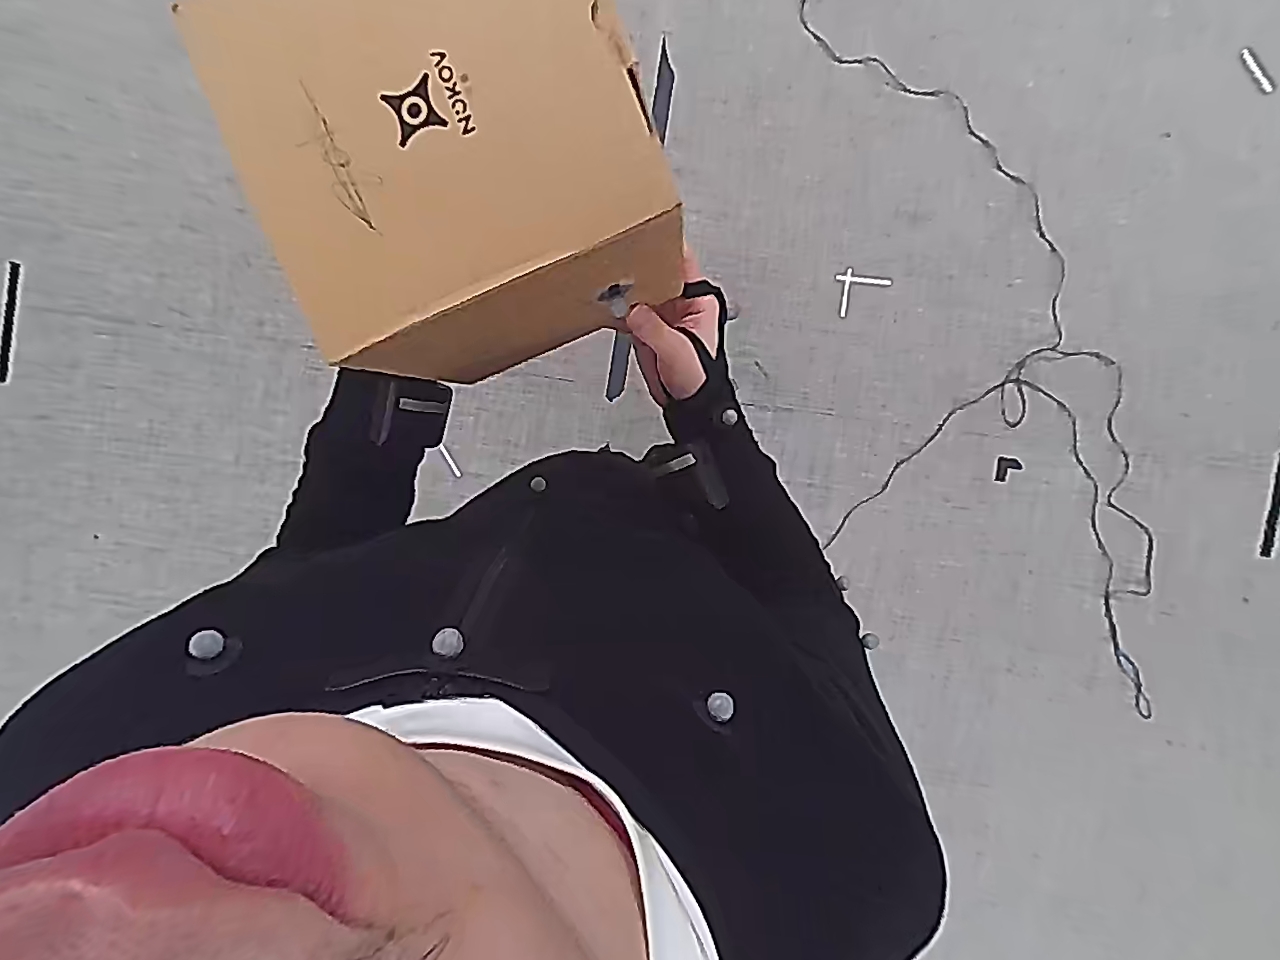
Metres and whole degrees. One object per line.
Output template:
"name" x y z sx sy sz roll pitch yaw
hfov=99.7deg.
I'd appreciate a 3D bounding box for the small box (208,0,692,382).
"small box" -0.081 -0.170 0.321 0.179 0.176 0.168 -24 93 7
